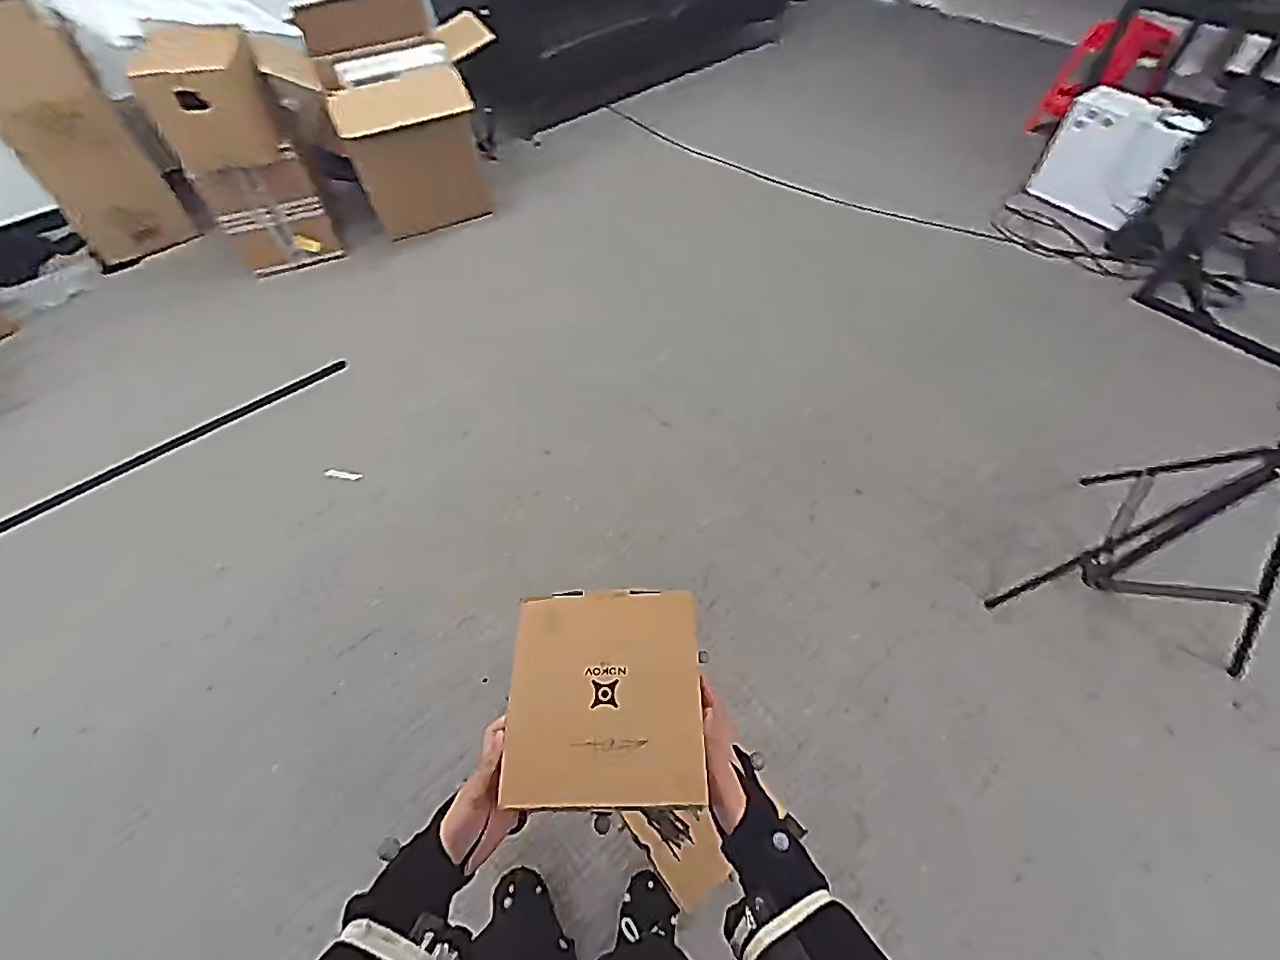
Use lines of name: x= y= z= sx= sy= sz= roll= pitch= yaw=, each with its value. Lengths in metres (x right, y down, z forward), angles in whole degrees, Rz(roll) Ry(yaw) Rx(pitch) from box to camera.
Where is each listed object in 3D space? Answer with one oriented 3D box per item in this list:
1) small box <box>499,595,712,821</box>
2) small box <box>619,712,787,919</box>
small box: x=-0.027 y=0.223 z=0.521 sx=0.168 sy=0.176 sz=0.179 roll=-3 pitch=60 yaw=1
small box: x=0.076 y=0.469 z=0.763 sx=0.179 sy=0.176 sz=0.168 roll=-33 pitch=60 yaw=-20
